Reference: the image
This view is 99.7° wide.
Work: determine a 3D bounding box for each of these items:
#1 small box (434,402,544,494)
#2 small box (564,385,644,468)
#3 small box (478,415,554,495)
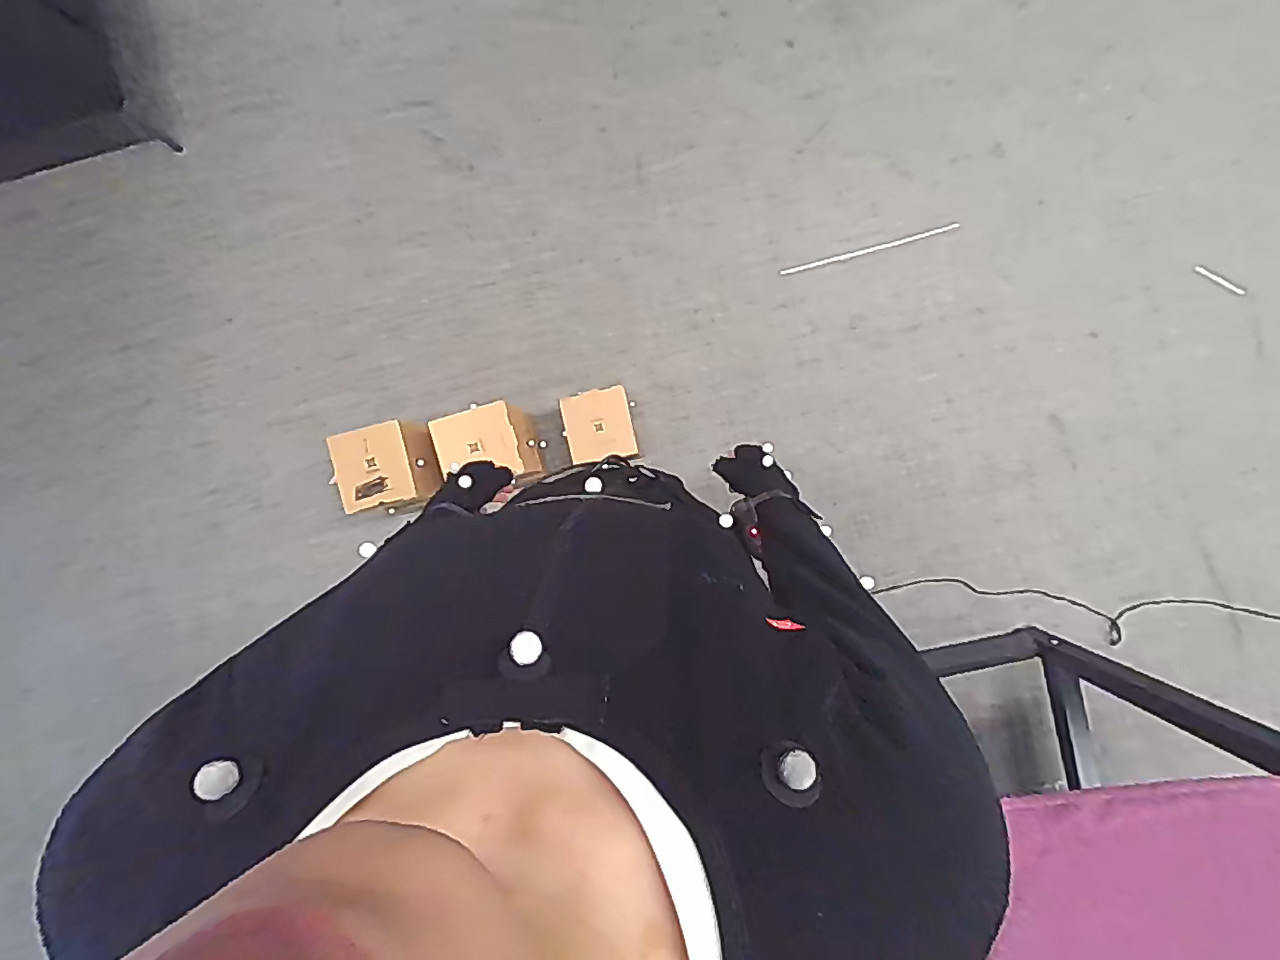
[{"bbox_3d":[-0.338,-0.069,1.242,0.179,0.176,0.168,-17,91,2],"label":"small box"},{"bbox_3d":[-0.087,-0.131,1.396,0.168,0.176,0.179,-13,91,3],"label":"small box"},{"bbox_3d":[-0.336,-0.066,1.404,0.168,0.176,0.179,-16,90,4],"label":"small box"}]
